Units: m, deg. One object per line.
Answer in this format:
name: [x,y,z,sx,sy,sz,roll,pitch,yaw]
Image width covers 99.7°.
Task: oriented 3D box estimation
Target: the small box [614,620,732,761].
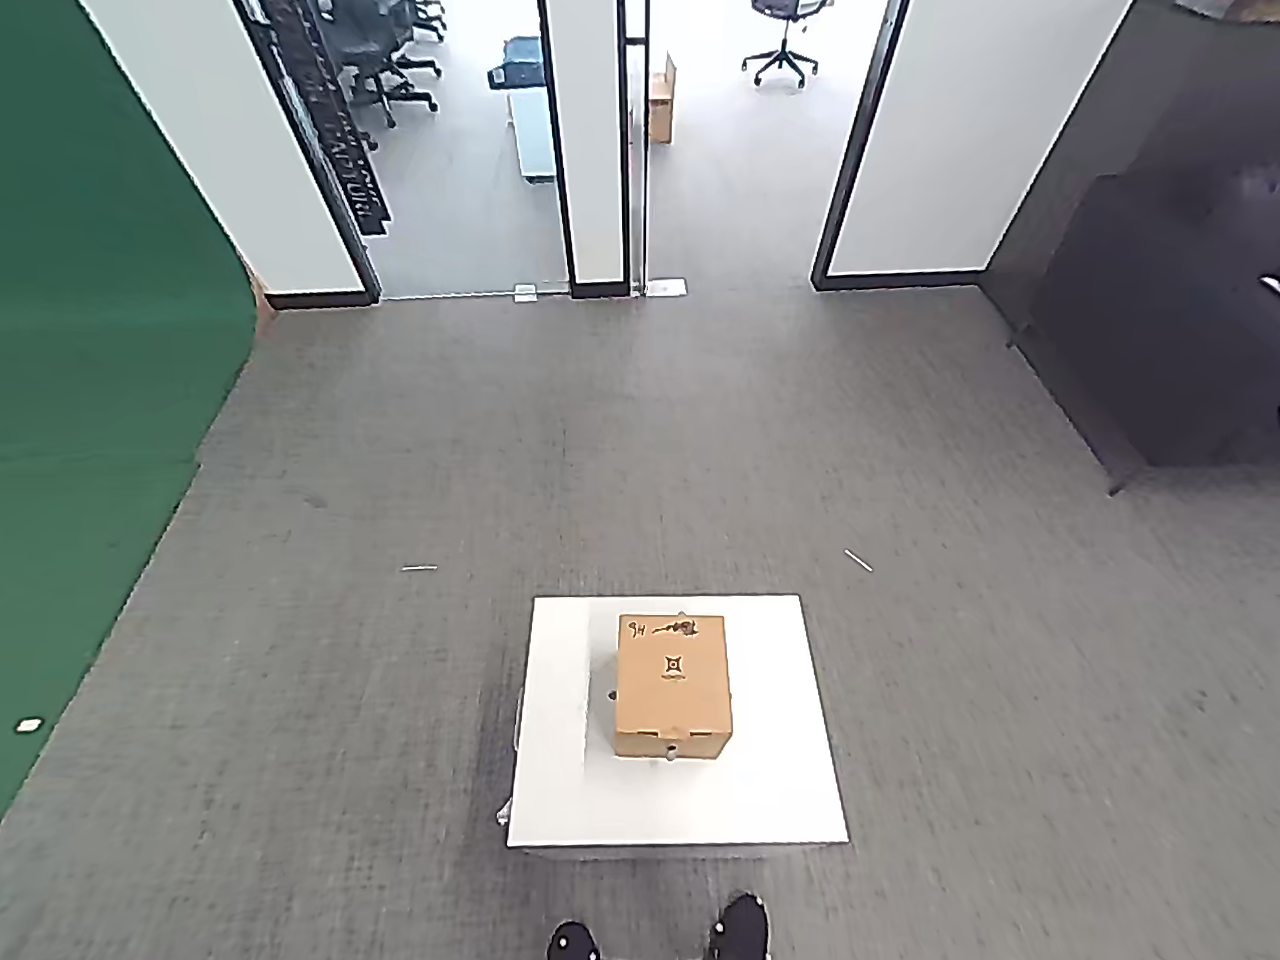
small box: [0.047,0.338,0.857,0.168,0.176,0.179,-1,52,-1]
